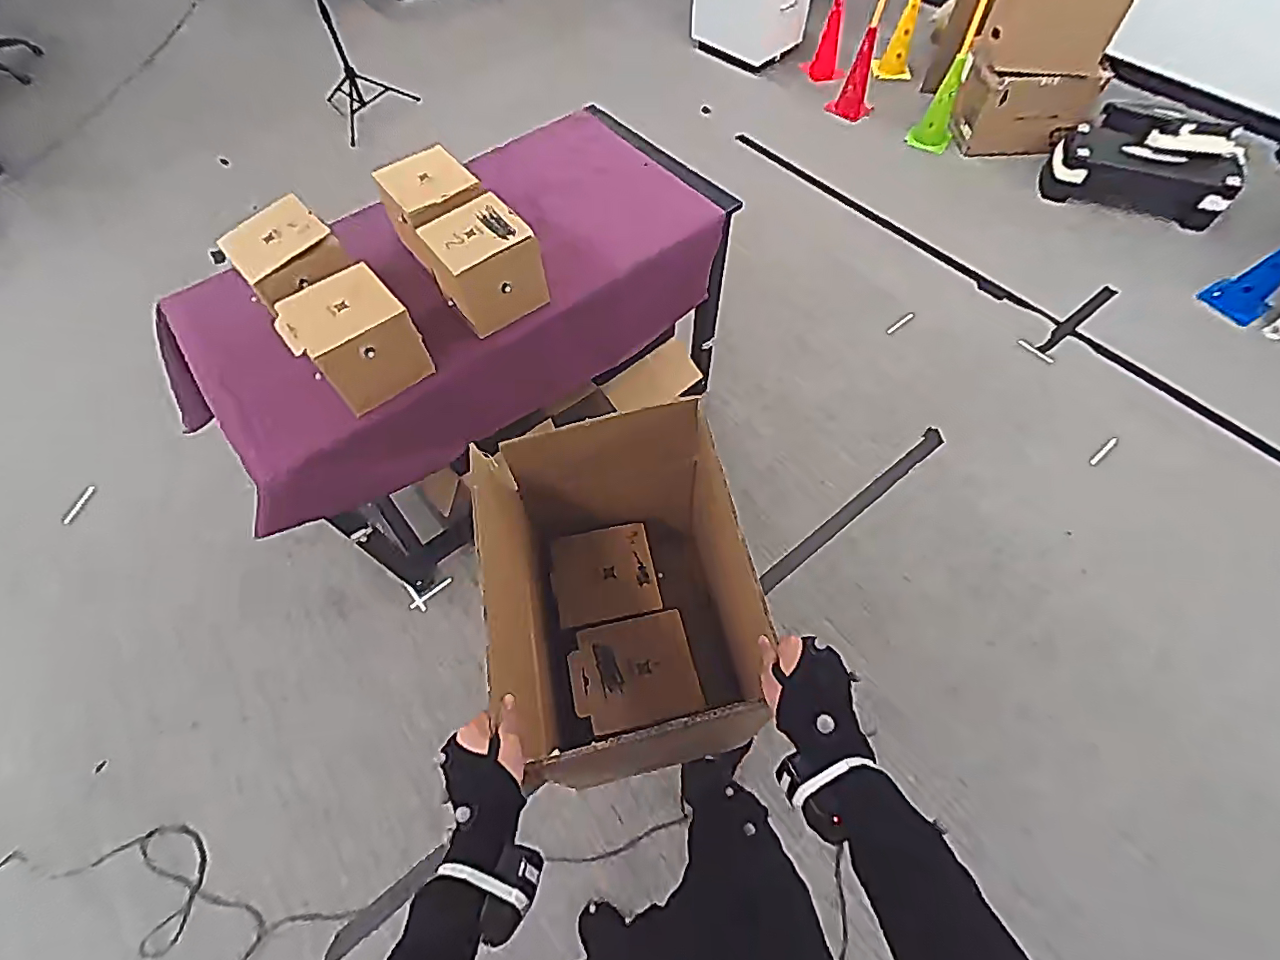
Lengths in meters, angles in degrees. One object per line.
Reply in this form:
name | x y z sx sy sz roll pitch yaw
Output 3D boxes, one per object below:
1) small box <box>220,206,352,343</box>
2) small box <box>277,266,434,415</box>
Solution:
small box | -0.685 -0.409 1.097 0.179 0.176 0.168 -38 68 -19
small box | -0.520 -0.255 1.011 0.179 0.176 0.168 -36 67 -18
